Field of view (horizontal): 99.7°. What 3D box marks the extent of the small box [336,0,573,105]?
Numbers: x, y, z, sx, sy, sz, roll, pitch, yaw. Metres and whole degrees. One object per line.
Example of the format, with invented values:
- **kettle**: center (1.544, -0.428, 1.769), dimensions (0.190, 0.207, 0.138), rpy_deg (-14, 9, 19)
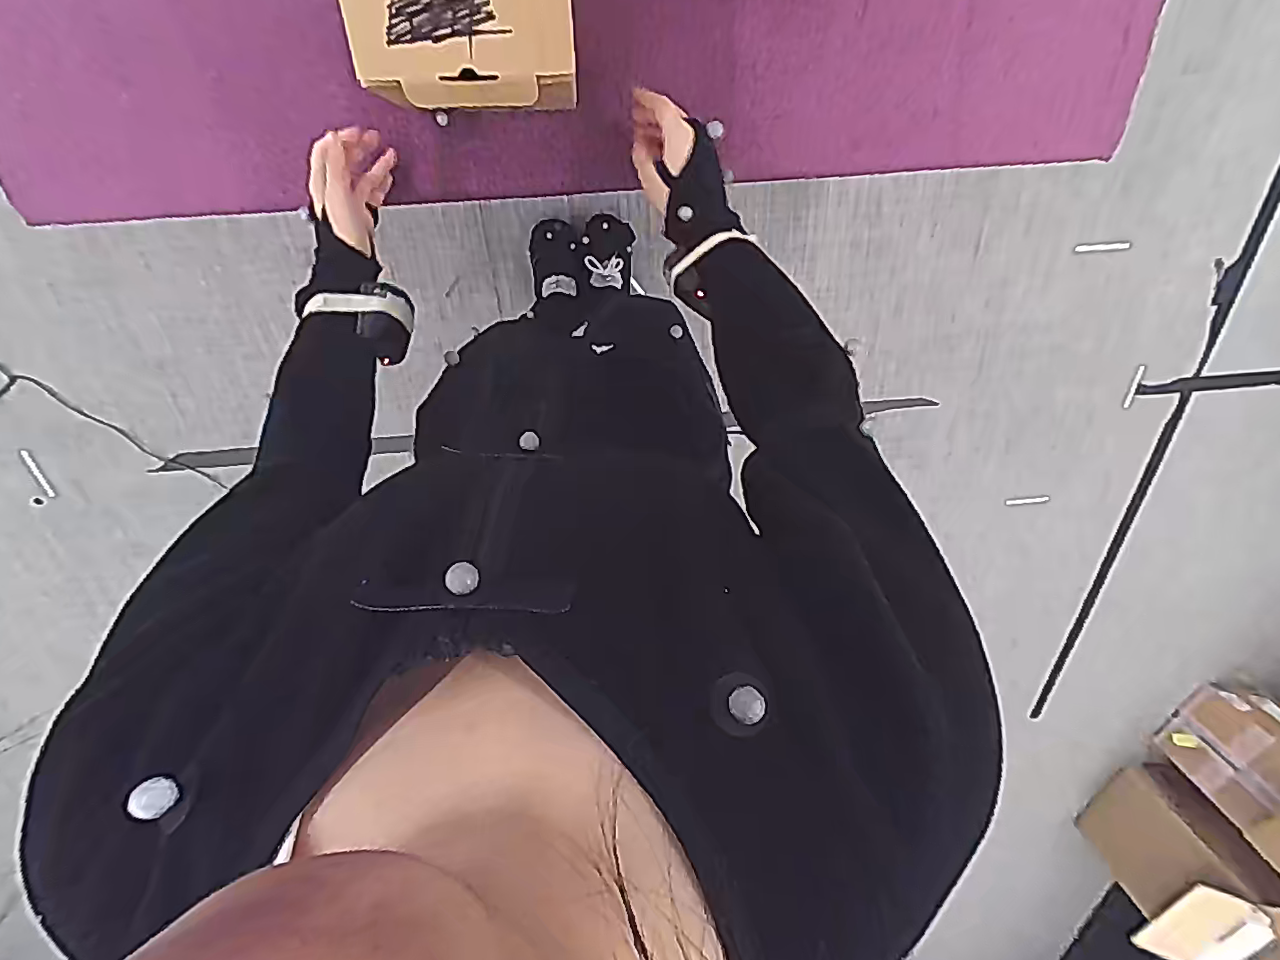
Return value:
- **small box**: center (-0.144, -0.420, 0.442), dimensions (0.168, 0.176, 0.179), rpy_deg (-4, 117, -5)
